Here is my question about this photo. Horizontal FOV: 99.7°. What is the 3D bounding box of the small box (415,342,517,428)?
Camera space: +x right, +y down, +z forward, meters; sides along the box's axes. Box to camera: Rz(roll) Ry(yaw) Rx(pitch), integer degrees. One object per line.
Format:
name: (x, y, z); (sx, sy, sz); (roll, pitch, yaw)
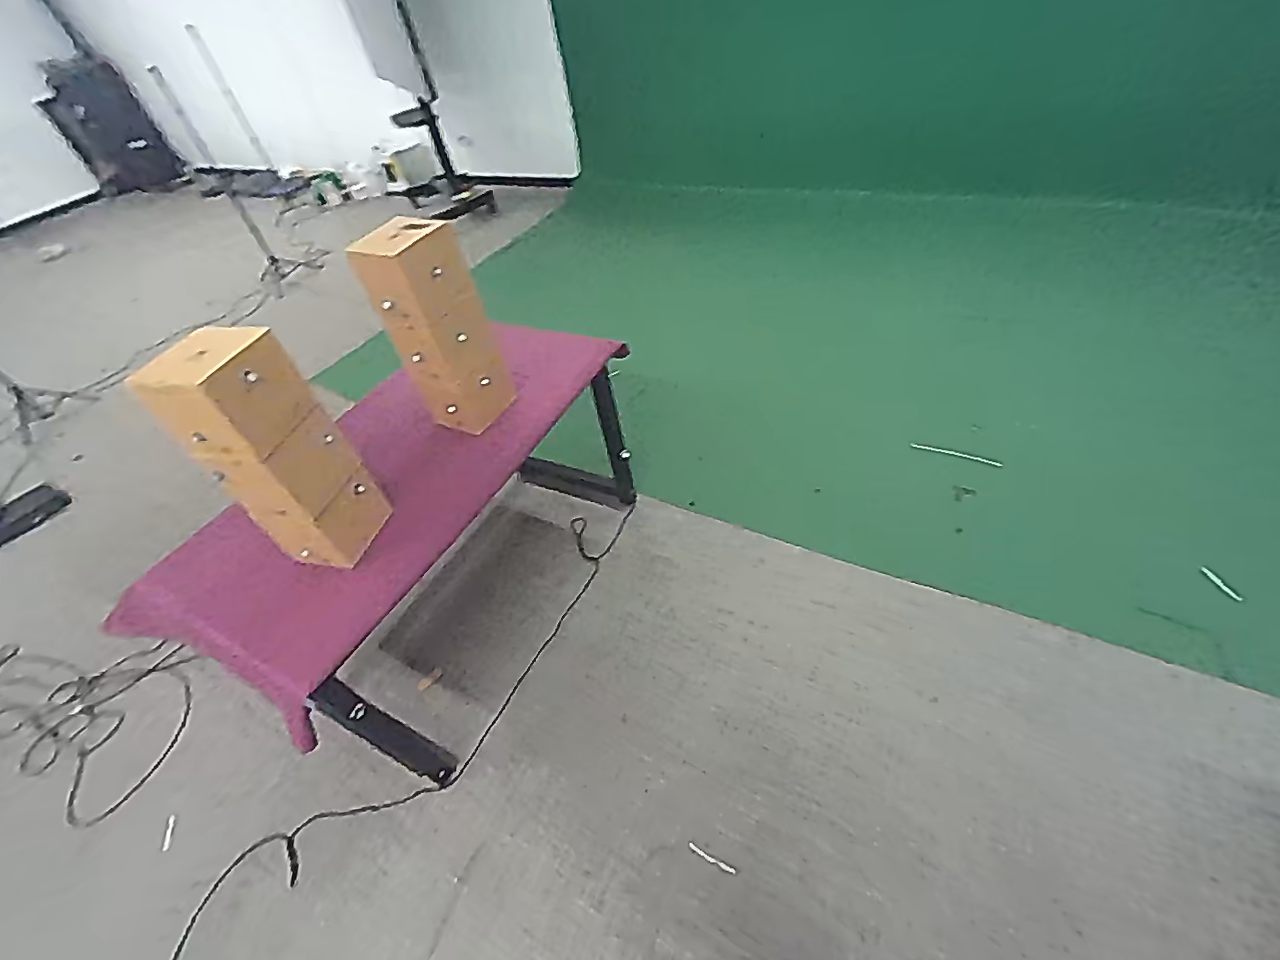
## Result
small box: (-0.461, -0.268, 1.467); (0.168, 0.176, 0.179); (19, 53, 25)

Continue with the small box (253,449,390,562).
small box: (-0.692, 0.056, 1.206); (0.168, 0.176, 0.179); (5, 49, 16)

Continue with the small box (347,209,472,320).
small box: (-0.510, -0.491, 1.231); (0.168, 0.176, 0.179); (16, 53, 24)

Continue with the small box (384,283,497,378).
small box: (-0.486, -0.379, 1.350); (0.168, 0.176, 0.179); (18, 54, 24)

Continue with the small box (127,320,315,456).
small box: (-0.728, -0.166, 0.970); (0.168, 0.176, 0.179); (5, 48, 14)
